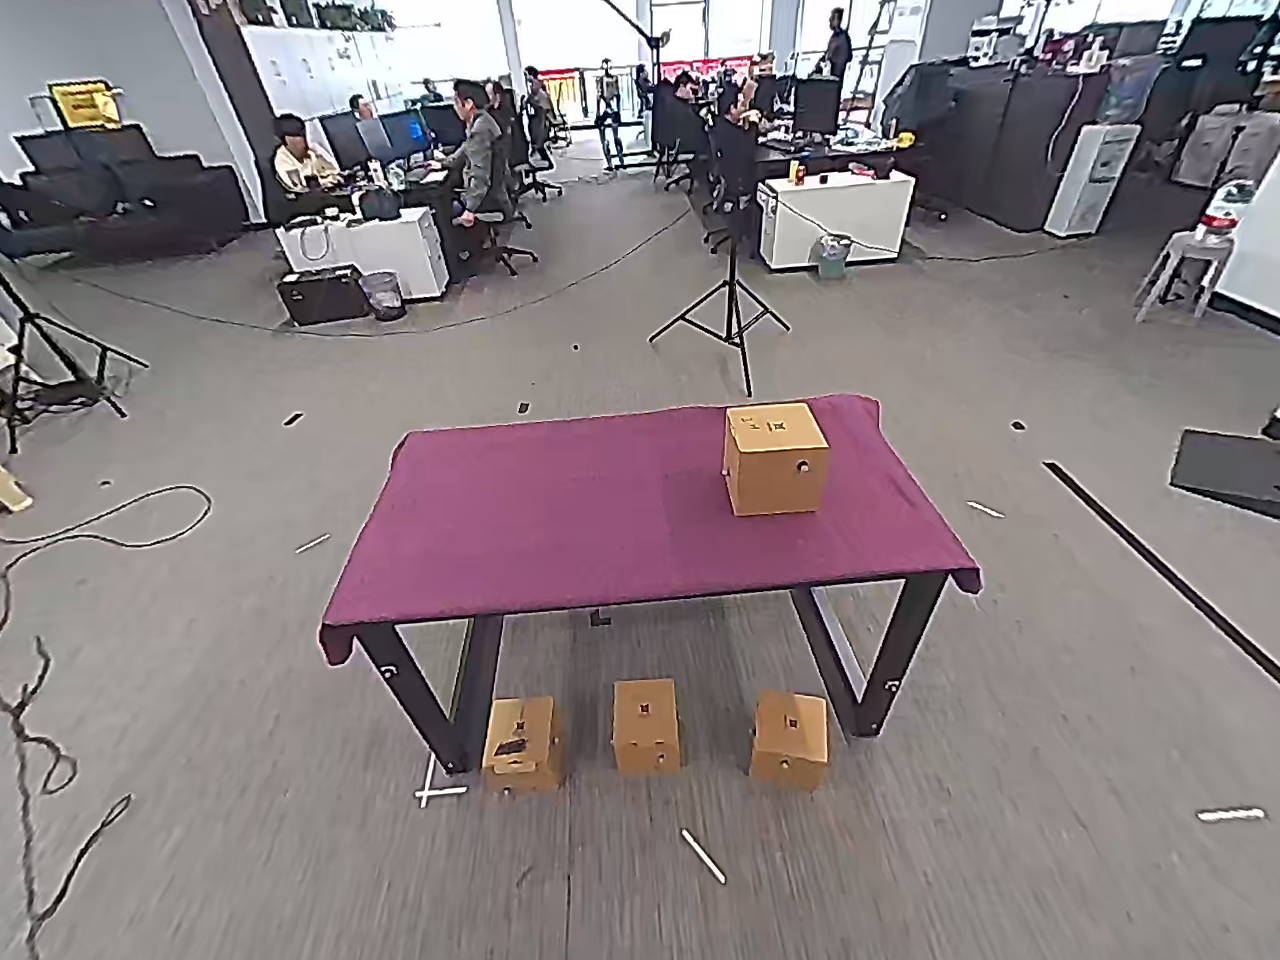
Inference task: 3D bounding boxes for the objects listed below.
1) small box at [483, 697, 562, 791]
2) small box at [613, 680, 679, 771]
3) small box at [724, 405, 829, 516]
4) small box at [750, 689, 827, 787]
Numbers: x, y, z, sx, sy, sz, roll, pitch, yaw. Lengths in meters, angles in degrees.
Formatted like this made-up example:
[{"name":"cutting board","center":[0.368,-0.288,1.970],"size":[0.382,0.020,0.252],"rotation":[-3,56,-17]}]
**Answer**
[{"name":"small box","center":[-0.304,0.709,1.441],"size":[0.168,0.176,0.179],"rotation":[-4,38,0]},{"name":"small box","center":[0.016,0.668,1.464],"size":[0.168,0.176,0.179],"rotation":[-3,38,0]},{"name":"small box","center":[0.279,-0.040,1.149],"size":[0.179,0.176,0.168],"rotation":[-4,38,1]},{"name":"small box","center":[0.386,0.678,1.416],"size":[0.179,0.176,0.168],"rotation":[5,41,13]}]
